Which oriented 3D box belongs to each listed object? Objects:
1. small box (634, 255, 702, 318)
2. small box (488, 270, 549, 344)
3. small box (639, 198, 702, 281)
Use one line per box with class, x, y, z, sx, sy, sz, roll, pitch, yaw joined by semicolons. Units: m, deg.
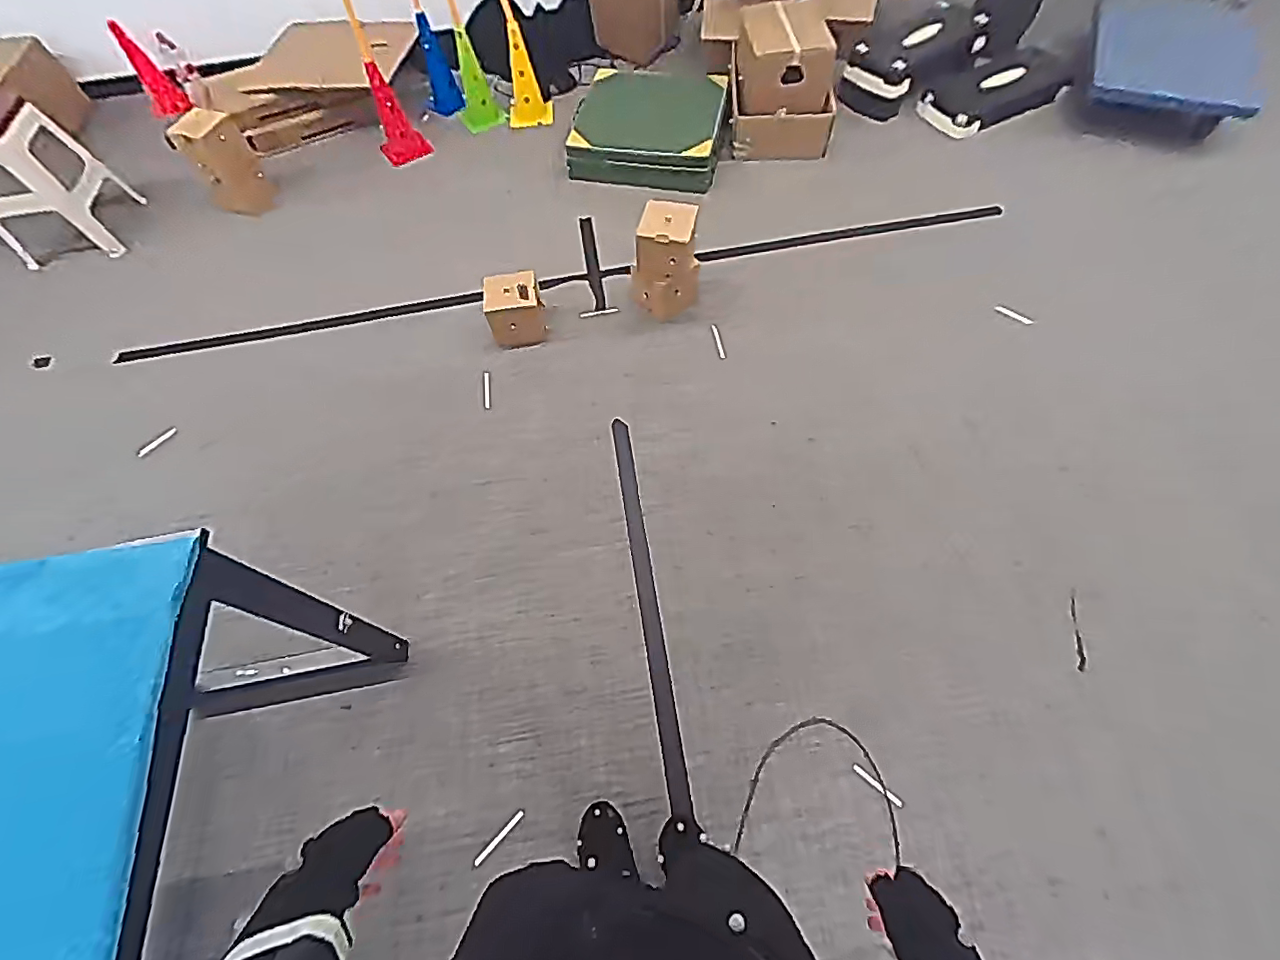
small box;0.101;-0.701;1.890;0.179;0.176;0.168;-39;67;-17
small box;-0.412;-0.592;1.862;0.179;0.176;0.168;-8;62;0
small box;0.100;-0.768;1.737;0.168;0.176;0.179;12;63;8
